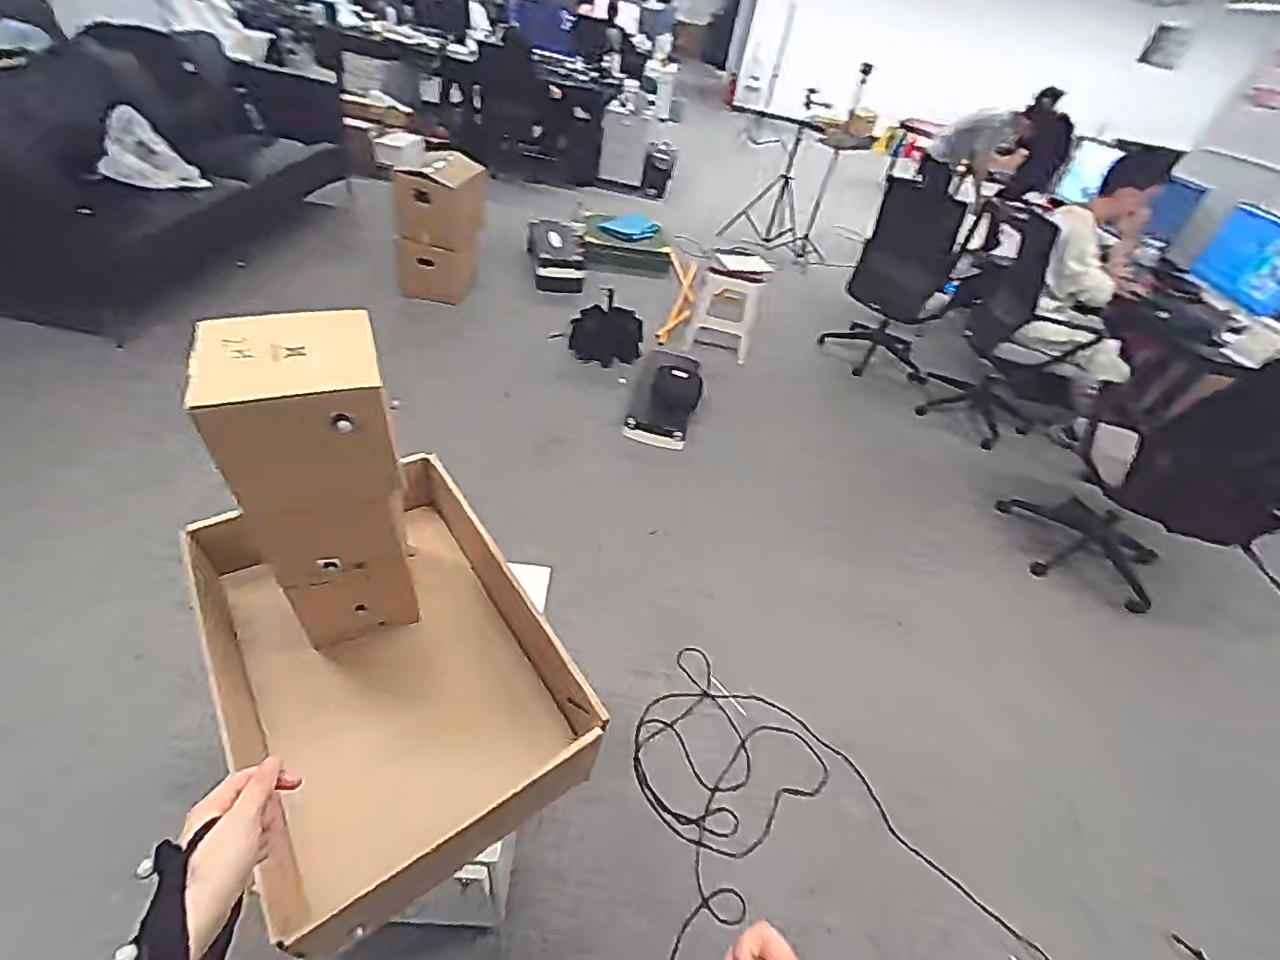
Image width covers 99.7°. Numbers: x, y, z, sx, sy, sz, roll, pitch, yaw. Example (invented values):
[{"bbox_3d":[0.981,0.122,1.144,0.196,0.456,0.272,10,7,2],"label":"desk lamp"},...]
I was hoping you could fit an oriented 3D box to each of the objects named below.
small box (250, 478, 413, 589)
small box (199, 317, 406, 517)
[{"bbox_3d":[-0.434,0.030,0.787,0.168,0.176,0.179,-10,49,-19],"label":"small box"},{"bbox_3d":[-0.397,-0.079,0.667,0.179,0.176,0.168,-13,48,-22],"label":"small box"}]
